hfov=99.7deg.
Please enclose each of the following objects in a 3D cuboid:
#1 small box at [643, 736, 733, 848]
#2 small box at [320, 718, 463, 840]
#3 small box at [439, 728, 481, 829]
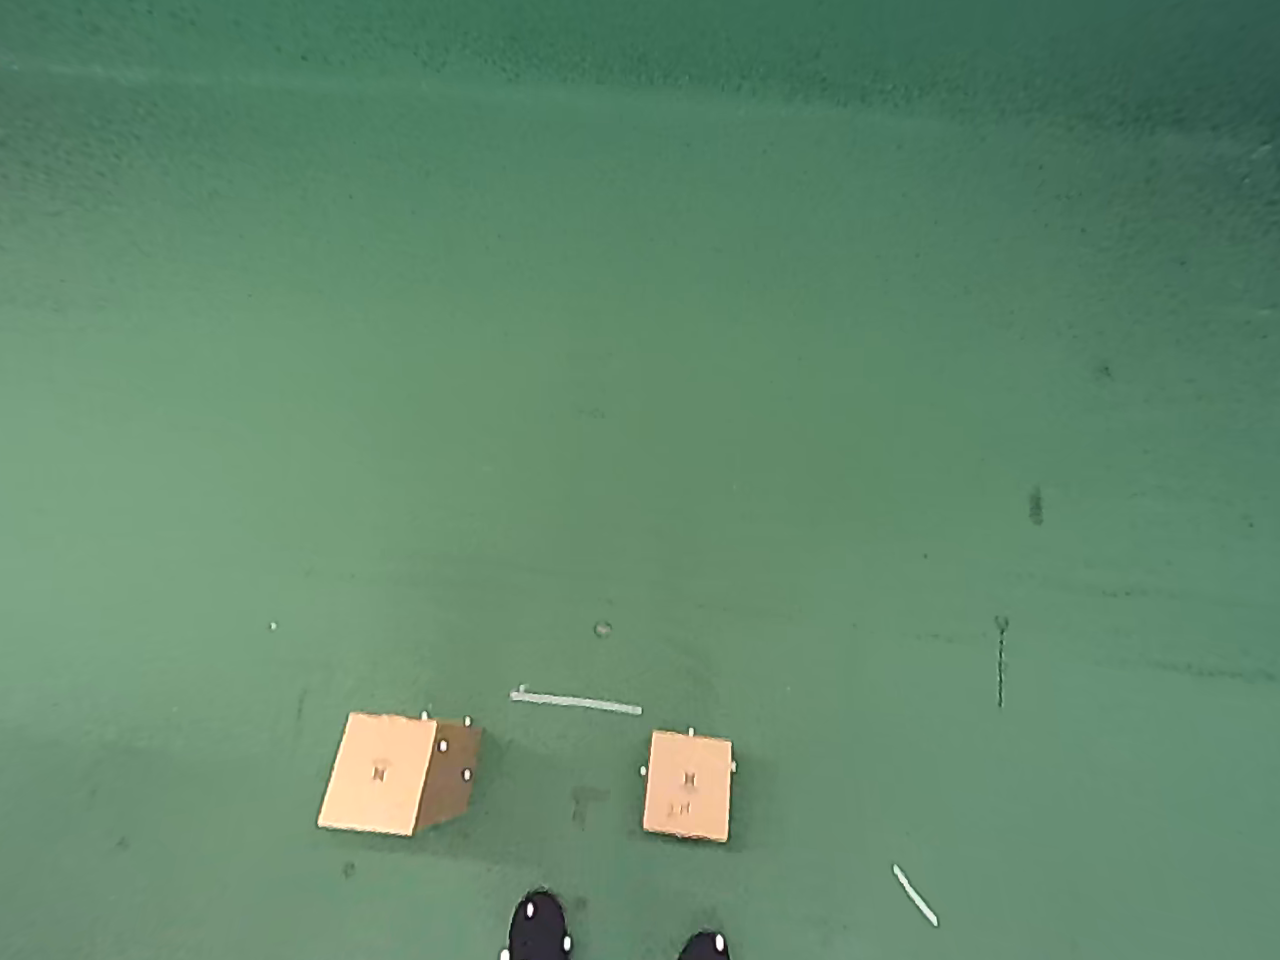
[{"bbox_3d":[0.098,0.649,1.142,0.168,0.176,0.179,7,64,3],"label":"small box"},{"bbox_3d":[-0.448,0.551,1.008,0.168,0.176,0.179,4,62,3],"label":"small box"},{"bbox_3d":[-0.450,0.624,1.152,0.168,0.176,0.179,5,64,3],"label":"small box"}]
